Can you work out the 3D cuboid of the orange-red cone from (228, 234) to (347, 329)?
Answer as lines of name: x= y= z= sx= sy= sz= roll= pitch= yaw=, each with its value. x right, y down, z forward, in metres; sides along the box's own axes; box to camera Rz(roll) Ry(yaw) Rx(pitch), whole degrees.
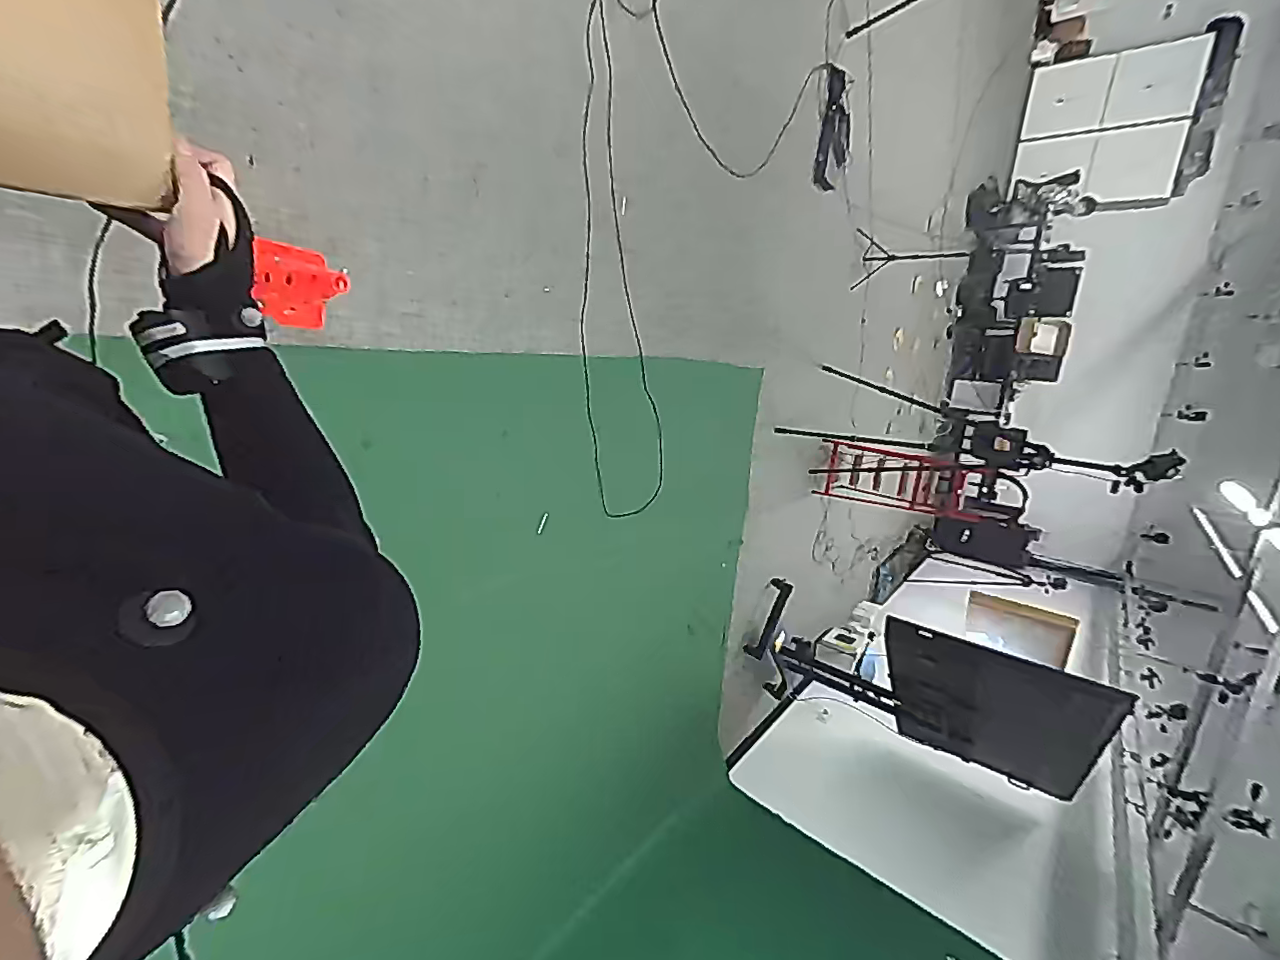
orange-red cone: x=-0.785 y=-0.460 z=1.269 sx=0.199 sy=0.360 sz=0.198 roll=-2 pitch=105 yaw=-53
